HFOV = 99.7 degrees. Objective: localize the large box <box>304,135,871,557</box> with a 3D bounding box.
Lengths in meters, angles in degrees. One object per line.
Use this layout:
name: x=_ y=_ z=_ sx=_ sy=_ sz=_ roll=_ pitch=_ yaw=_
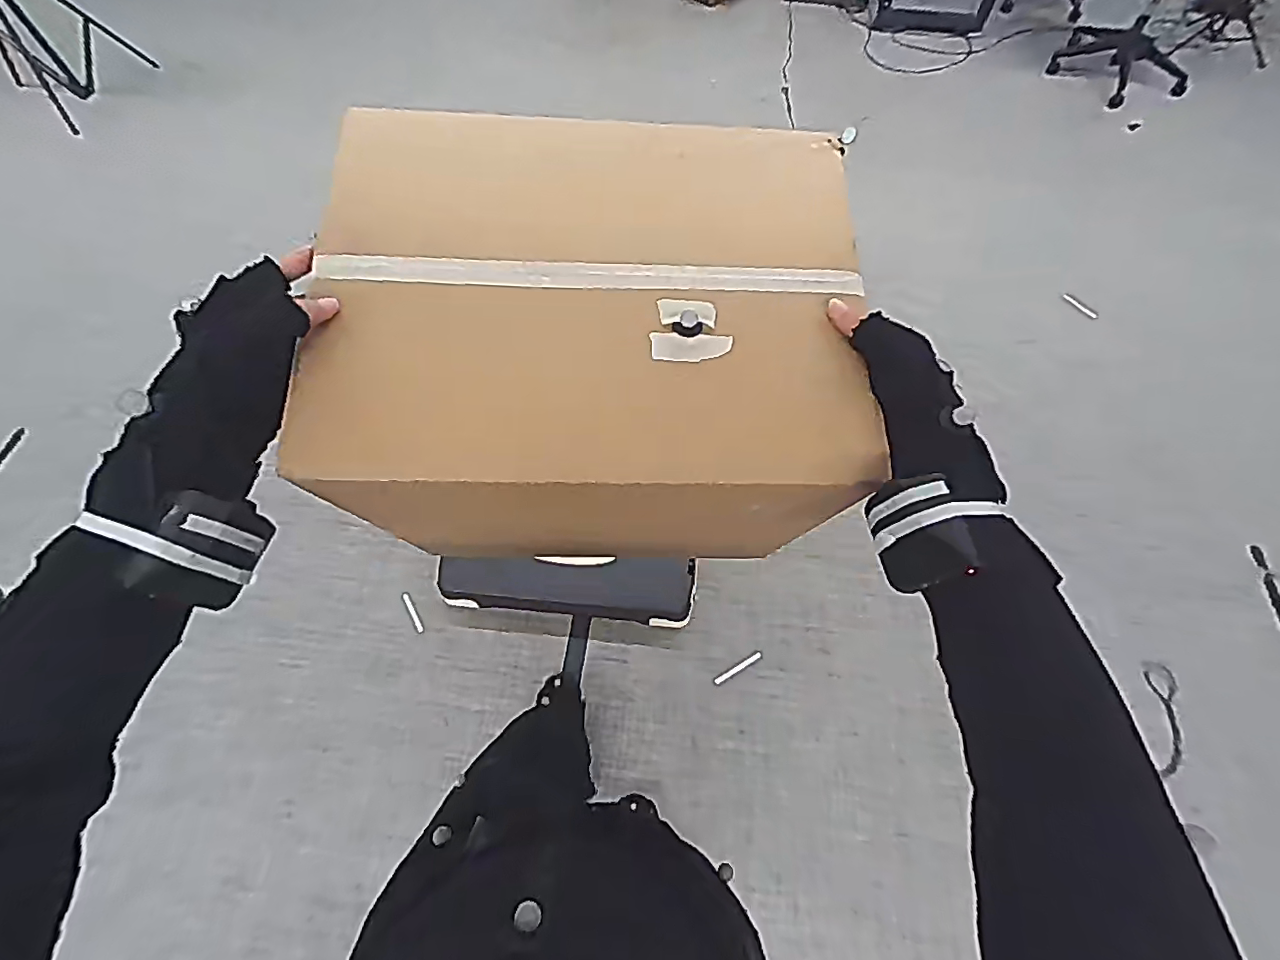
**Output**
large box: x=-0.044 y=-0.101 z=0.561 sx=0.408 sy=0.320 sz=0.320 roll=1 pitch=73 yaw=-4
